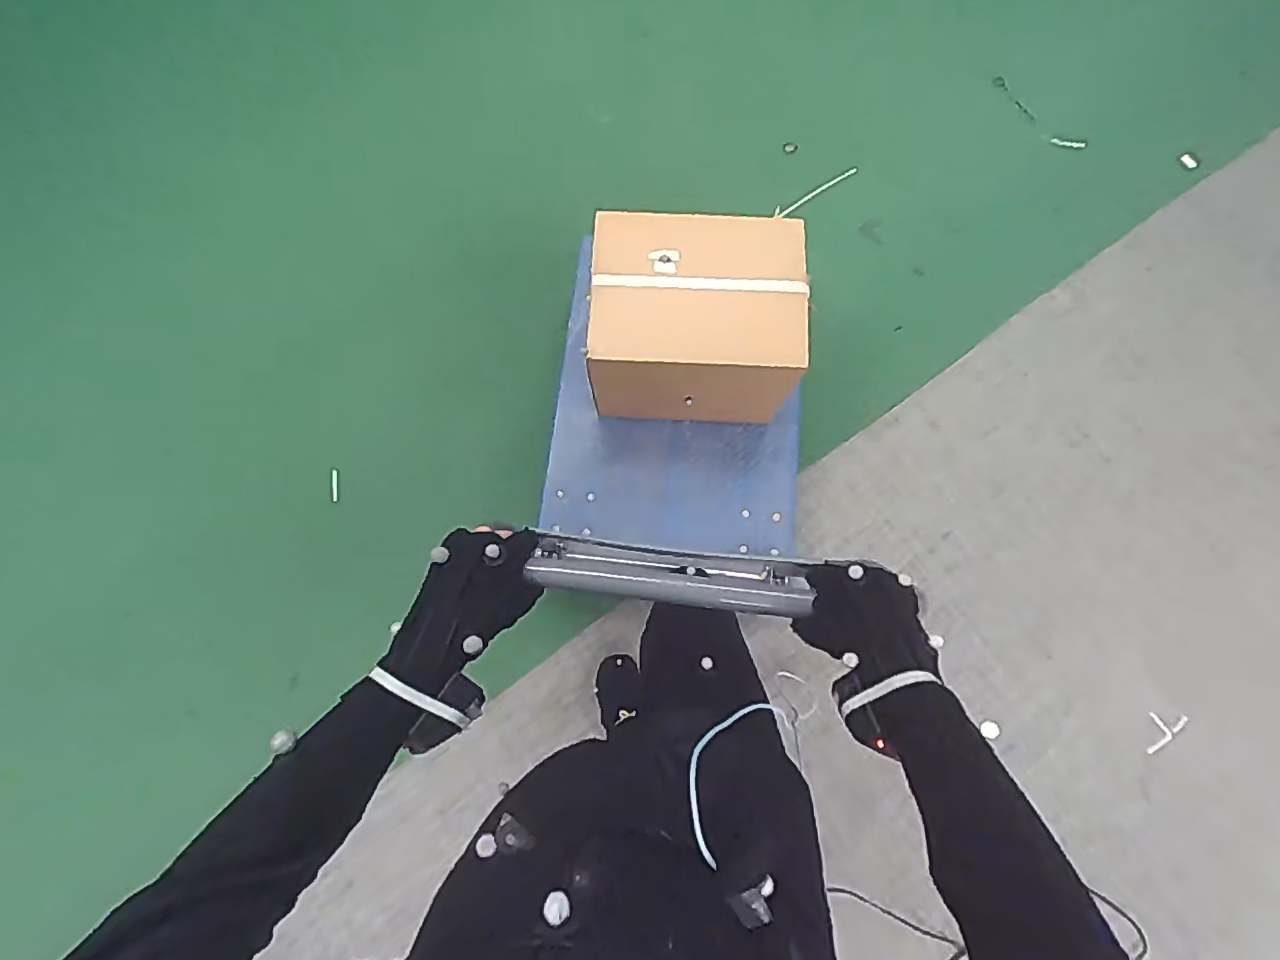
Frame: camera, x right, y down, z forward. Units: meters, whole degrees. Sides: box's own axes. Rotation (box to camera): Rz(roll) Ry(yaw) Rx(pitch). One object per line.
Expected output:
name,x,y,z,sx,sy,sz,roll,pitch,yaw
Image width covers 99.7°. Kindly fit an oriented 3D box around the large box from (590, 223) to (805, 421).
large box,0.114,-0.321,1.169,0.408,0.320,0.320,2,76,2
